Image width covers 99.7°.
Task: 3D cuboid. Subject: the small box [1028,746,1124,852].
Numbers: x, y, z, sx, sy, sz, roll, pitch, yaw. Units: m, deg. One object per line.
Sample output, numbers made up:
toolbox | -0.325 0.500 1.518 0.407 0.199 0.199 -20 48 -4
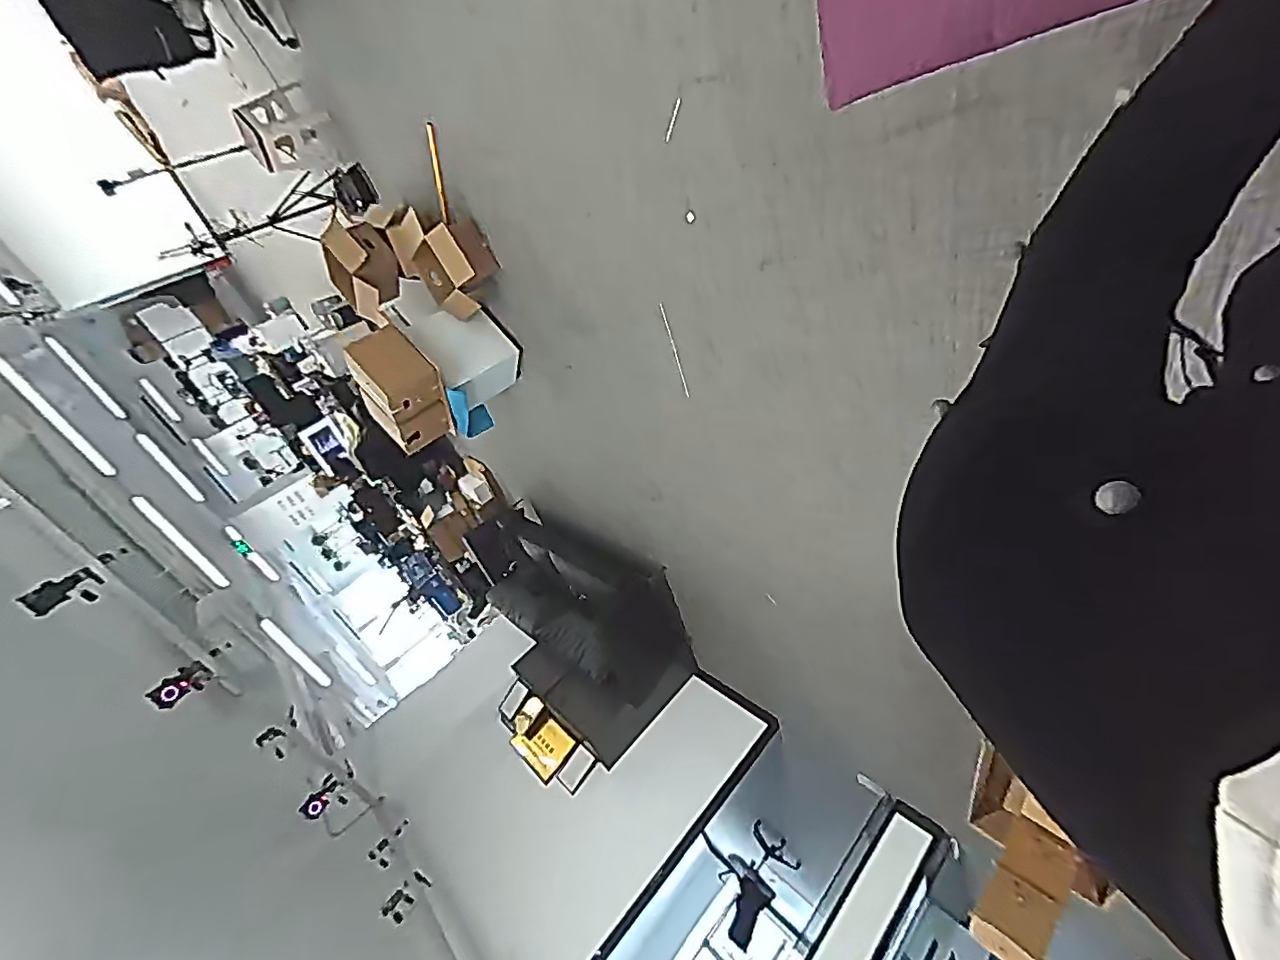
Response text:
small box | 1.256 0.912 1.559 0.168 0.176 0.179 24 145 44

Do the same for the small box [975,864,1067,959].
small box | 1.084 1.257 1.541 0.168 0.176 0.179 21 138 45

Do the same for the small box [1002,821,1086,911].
small box | 1.204 1.181 1.625 0.168 0.176 0.179 23 140 44
